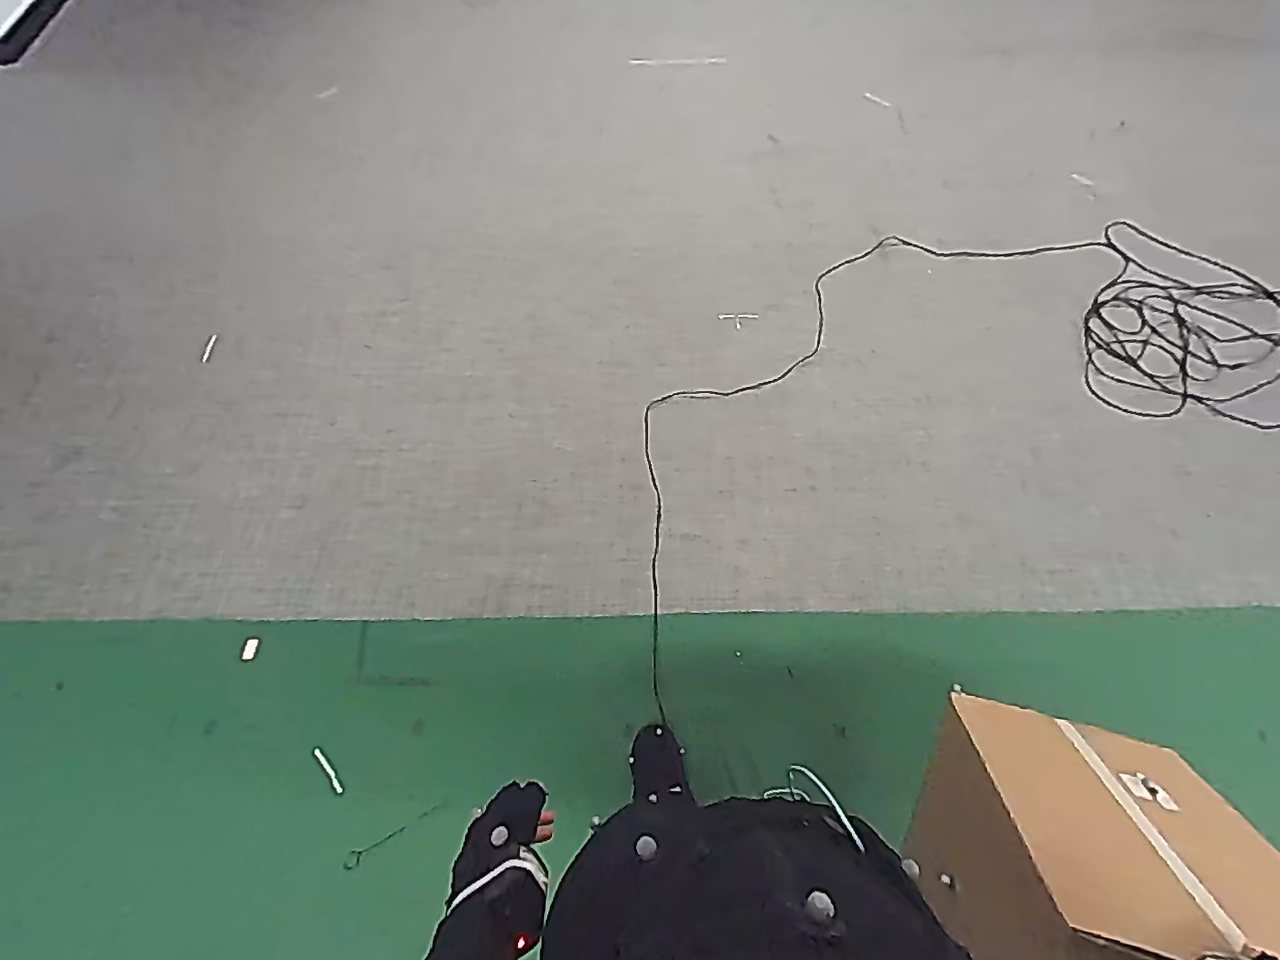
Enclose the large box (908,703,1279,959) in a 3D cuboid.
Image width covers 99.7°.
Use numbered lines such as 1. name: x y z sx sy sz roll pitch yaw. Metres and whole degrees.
1. large box: 0.569 0.561 0.674 0.320 0.408 0.320 12 102 13
